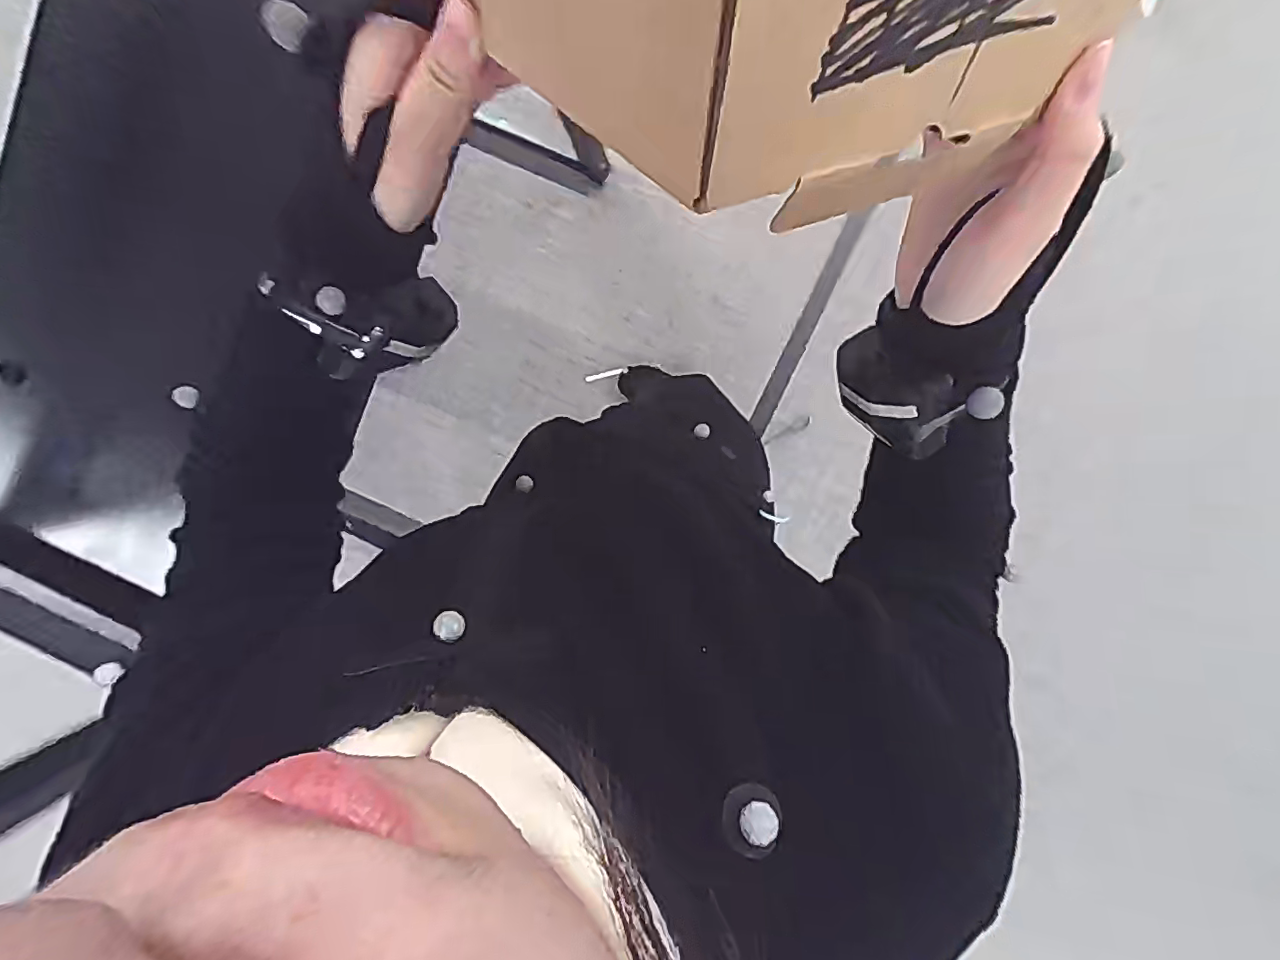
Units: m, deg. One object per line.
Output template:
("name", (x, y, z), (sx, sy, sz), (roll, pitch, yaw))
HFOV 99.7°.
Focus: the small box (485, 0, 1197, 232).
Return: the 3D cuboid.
("small box", (0.051, -0.195, 0.132), (0.168, 0.179, 0.176), (-23, 56, -22))
